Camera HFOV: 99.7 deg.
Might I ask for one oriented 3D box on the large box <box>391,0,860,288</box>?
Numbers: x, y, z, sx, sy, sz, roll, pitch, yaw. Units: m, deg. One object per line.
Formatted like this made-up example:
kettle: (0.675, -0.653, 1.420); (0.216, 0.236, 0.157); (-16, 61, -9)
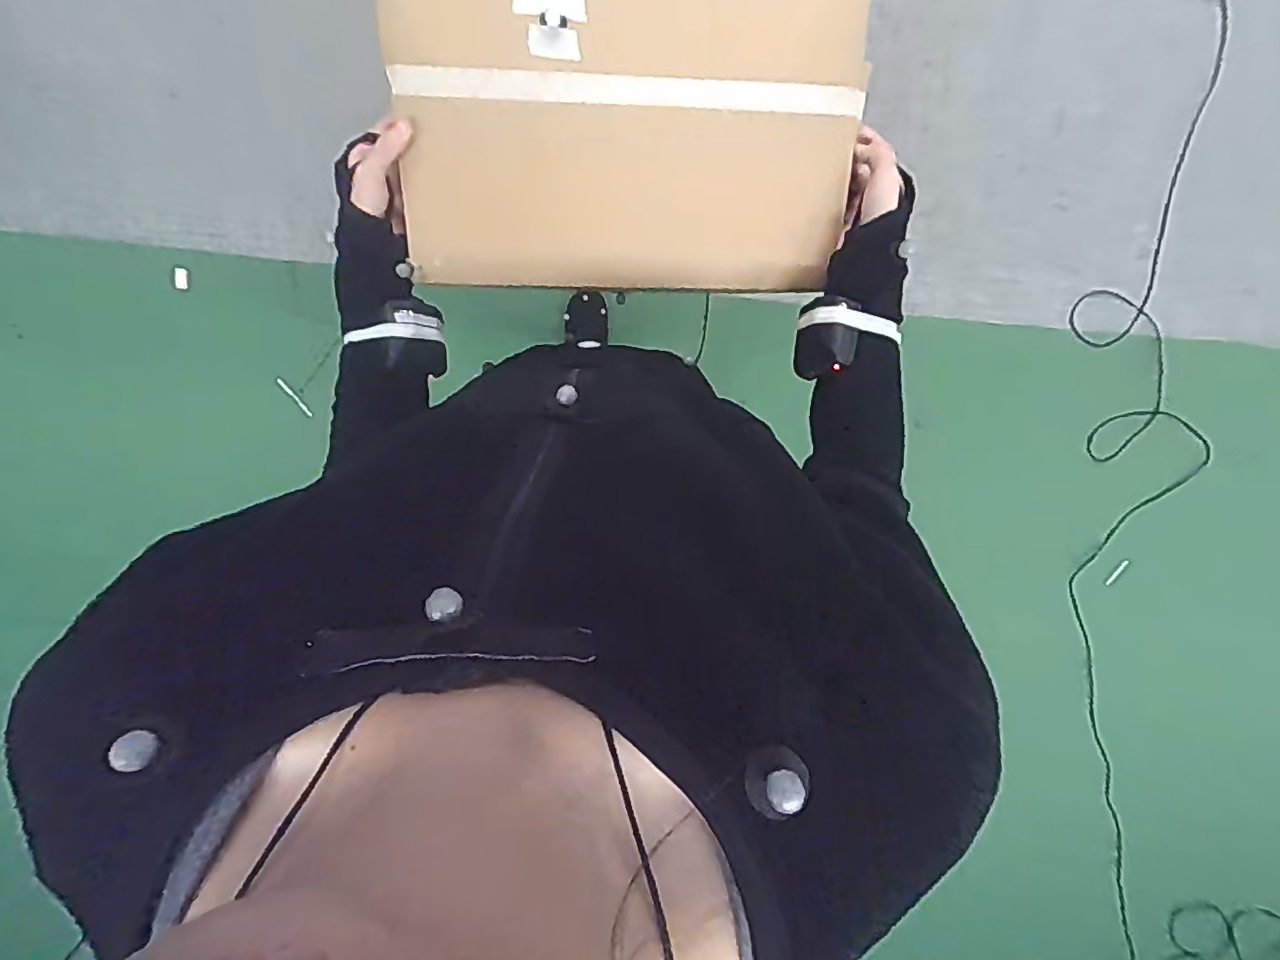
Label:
large box: (-0.020, -0.392, 0.618); (0.408, 0.320, 0.320); (0, 110, -5)
